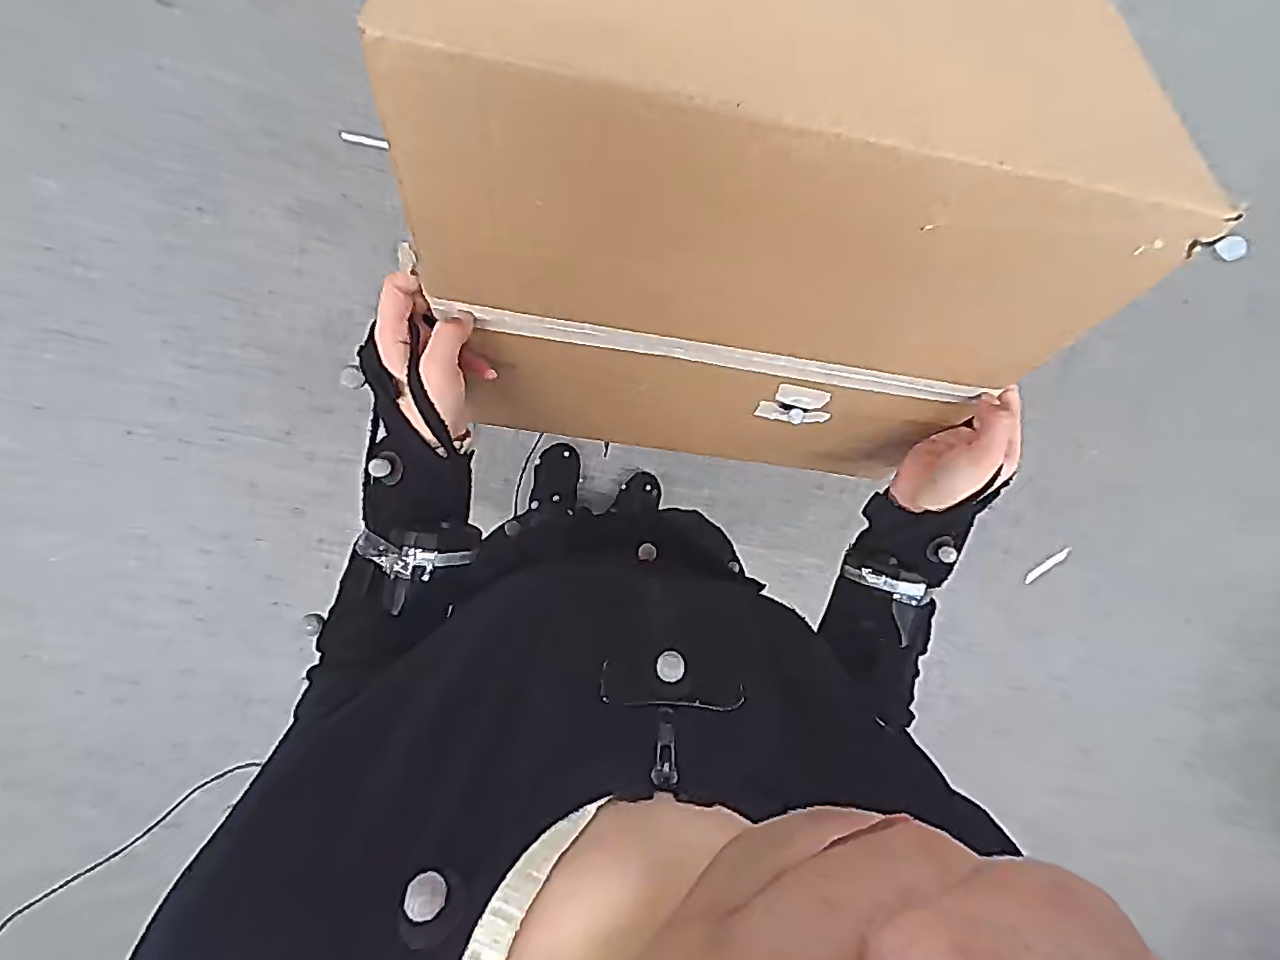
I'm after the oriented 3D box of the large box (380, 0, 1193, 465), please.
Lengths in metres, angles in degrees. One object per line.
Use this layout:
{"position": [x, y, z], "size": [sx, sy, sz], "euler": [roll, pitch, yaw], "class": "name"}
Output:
{"position": [0.068, -0.234, 0.446], "size": [0.408, 0.320, 0.320], "euler": [7, 66, -7], "class": "large box"}
